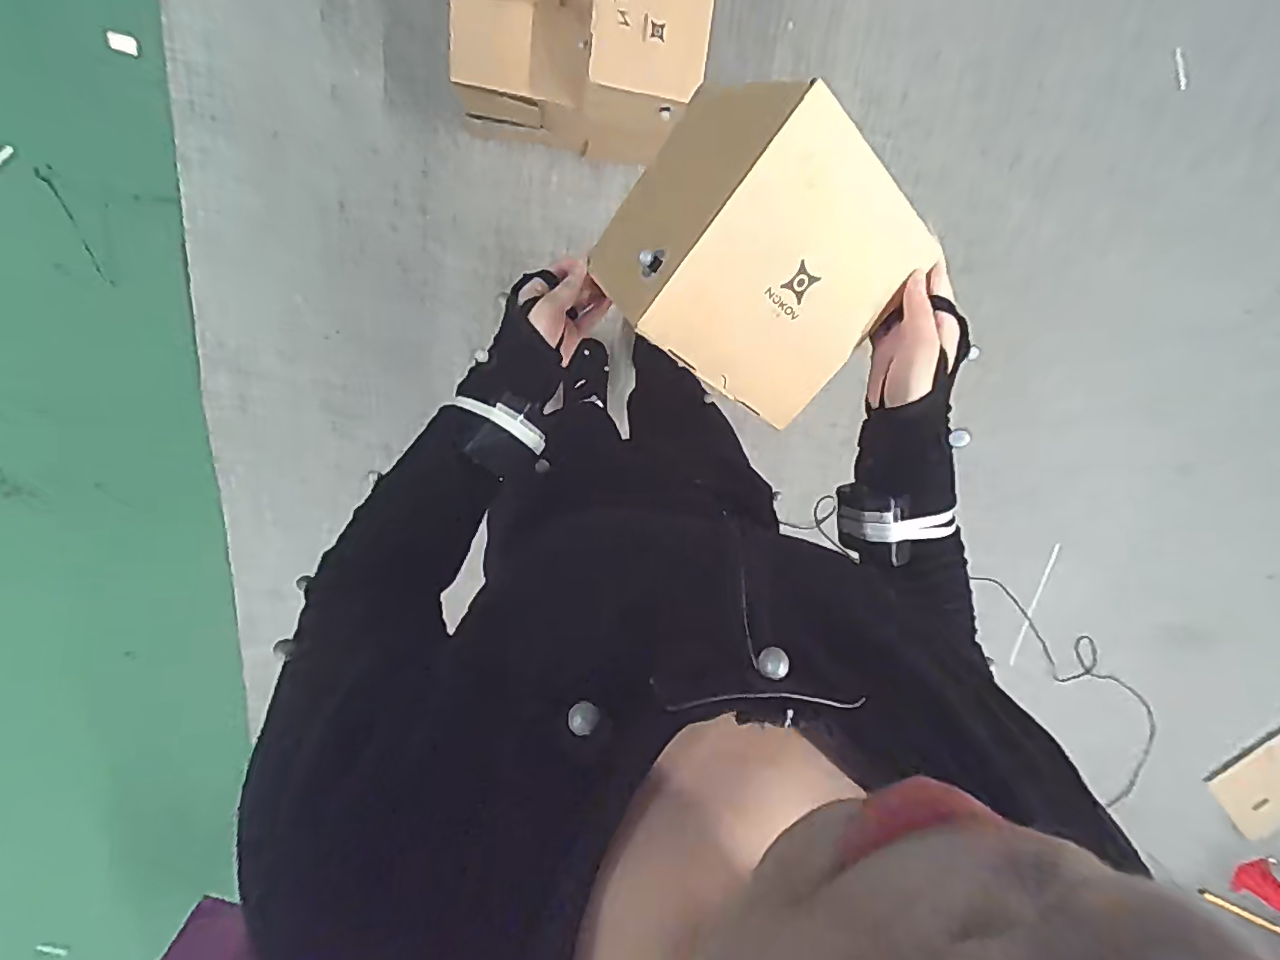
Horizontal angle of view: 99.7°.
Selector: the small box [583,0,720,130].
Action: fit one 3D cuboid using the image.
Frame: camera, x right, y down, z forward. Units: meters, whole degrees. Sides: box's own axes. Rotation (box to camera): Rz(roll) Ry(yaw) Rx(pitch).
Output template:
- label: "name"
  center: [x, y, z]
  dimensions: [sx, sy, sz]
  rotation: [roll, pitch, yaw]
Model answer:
- label: "small box"
  center: [0.010, -0.678, 0.854]
  dimensions: [0.179, 0.176, 0.168]
  rotation: [6, 108, -11]
